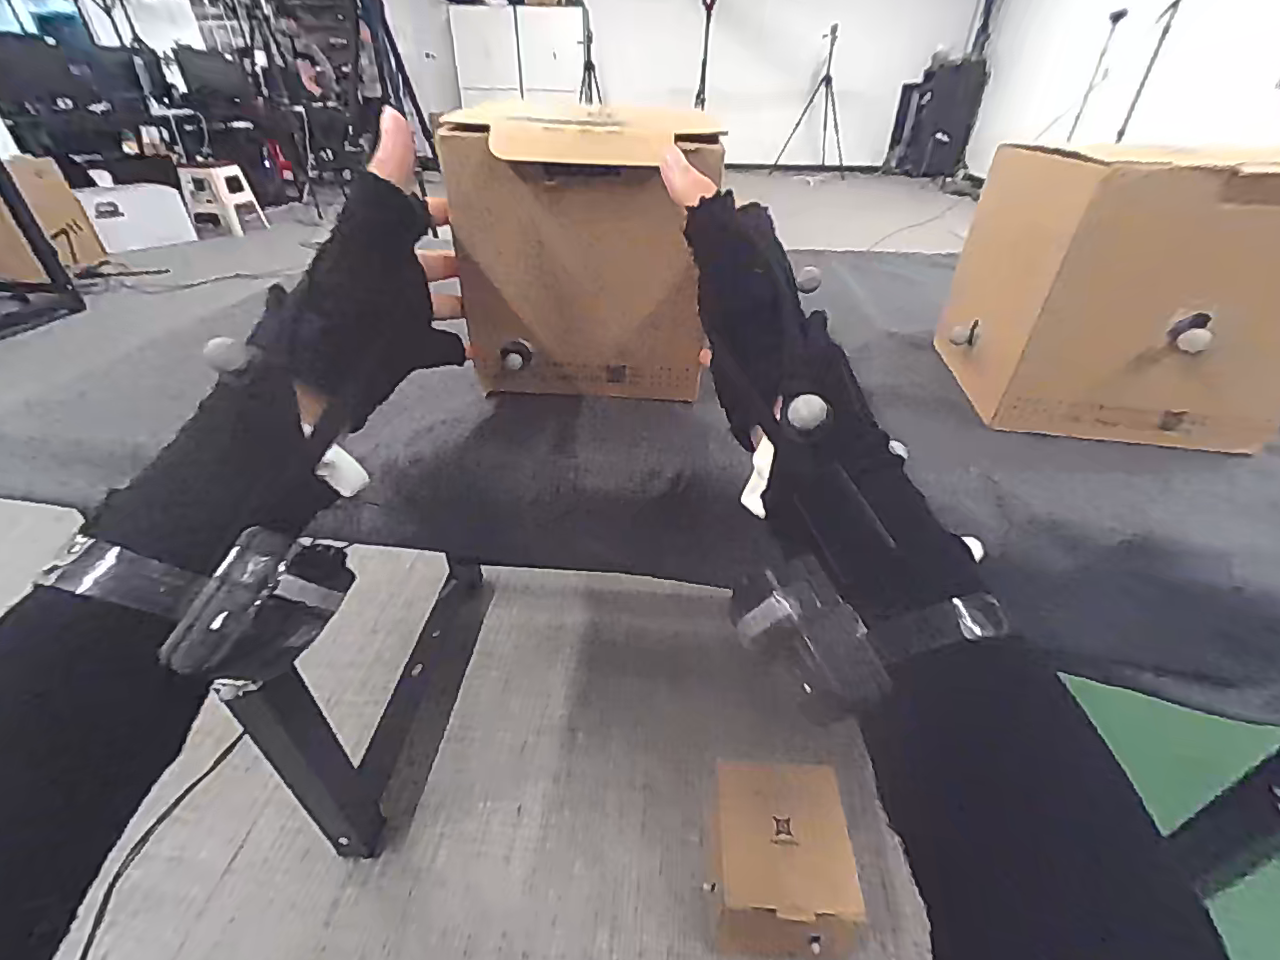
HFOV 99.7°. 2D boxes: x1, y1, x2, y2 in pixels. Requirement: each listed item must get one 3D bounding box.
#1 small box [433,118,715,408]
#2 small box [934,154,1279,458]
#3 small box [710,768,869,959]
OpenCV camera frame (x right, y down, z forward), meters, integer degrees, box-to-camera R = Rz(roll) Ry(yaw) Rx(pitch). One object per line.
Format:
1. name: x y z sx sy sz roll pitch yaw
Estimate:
1. small box: -0.035 -0.169 0.417 0.168 0.176 0.179 3 39 1
2. small box: 0.340 -0.131 0.393 0.168 0.176 0.179 7 35 9
3. small box: 0.185 0.523 0.727 0.168 0.176 0.179 3 33 2
